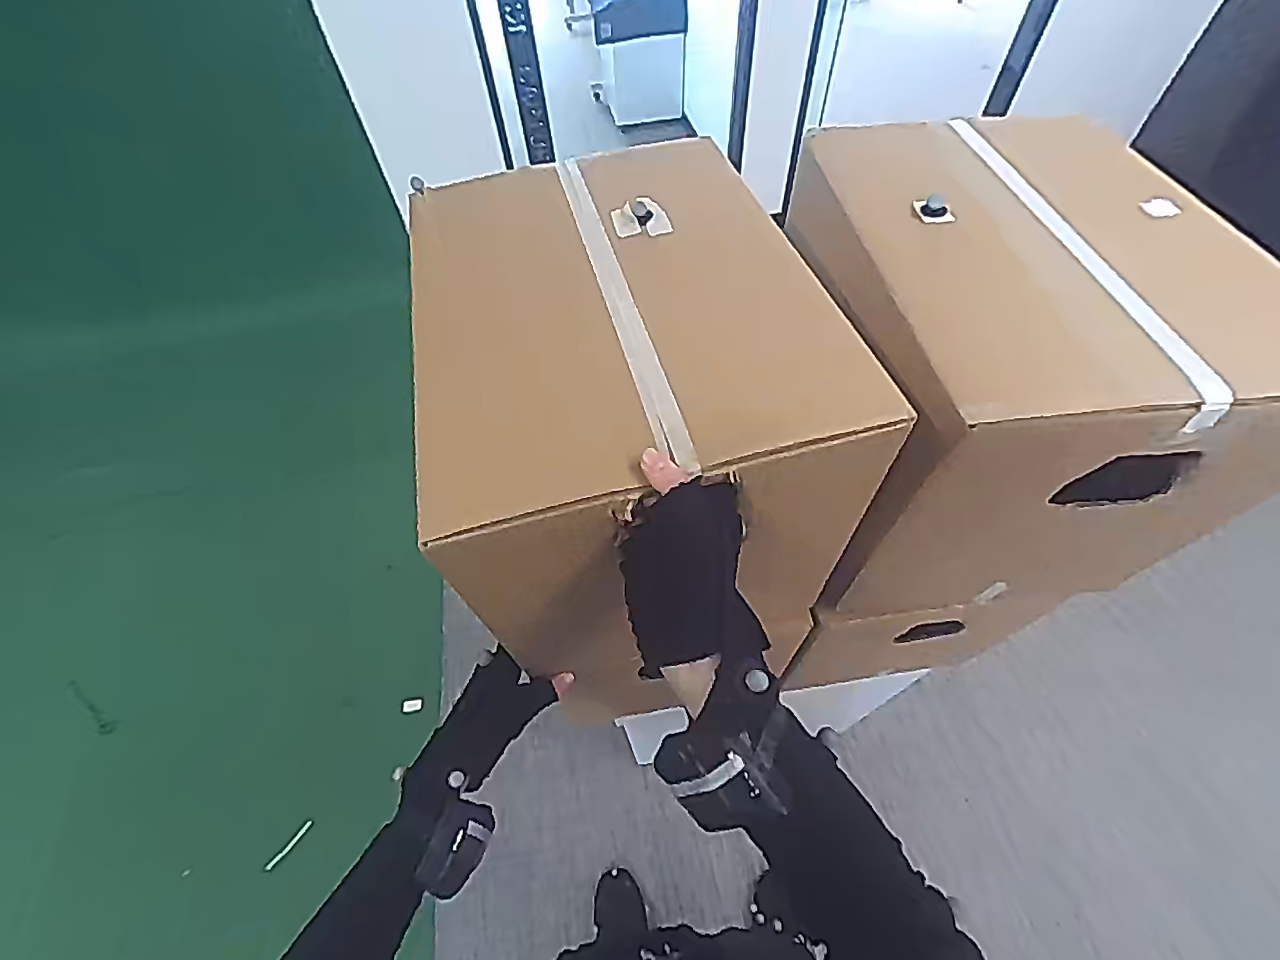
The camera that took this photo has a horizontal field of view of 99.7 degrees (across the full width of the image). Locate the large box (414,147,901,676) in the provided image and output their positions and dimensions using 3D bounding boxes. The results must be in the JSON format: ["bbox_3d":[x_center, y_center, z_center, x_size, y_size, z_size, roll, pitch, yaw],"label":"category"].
[{"bbox_3d":[-0.017,-0.071,0.561,0.320,0.320,0.408,-13,55,-6],"label":"large box"}]
